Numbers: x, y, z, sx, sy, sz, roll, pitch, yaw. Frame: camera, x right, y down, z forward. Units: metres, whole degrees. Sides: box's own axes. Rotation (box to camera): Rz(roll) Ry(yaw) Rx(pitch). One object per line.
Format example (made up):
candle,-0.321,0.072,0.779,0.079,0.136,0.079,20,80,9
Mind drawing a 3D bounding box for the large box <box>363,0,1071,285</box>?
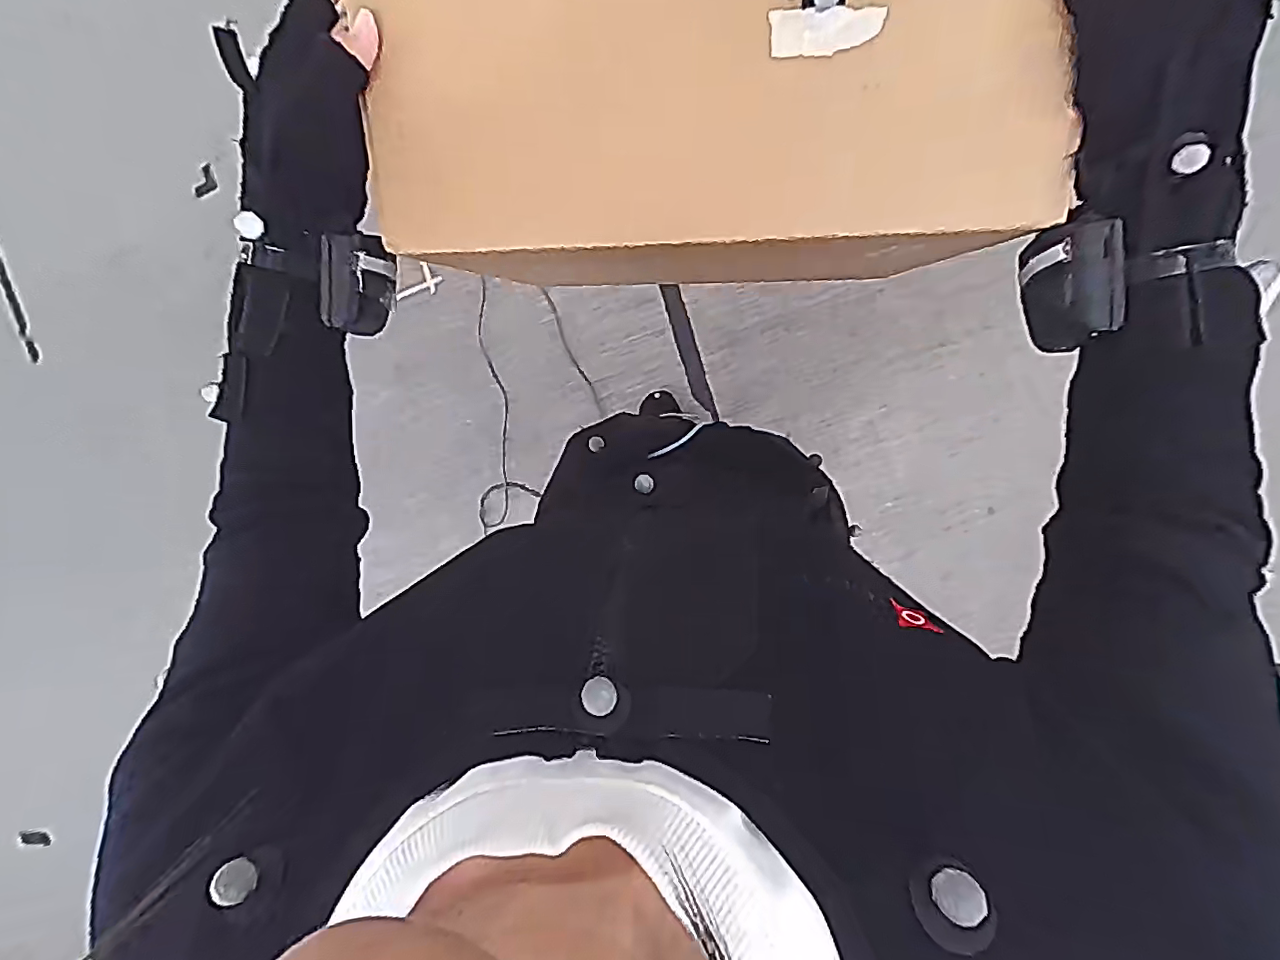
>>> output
large box,0.046,-0.343,0.439,0.408,0.320,0.320,0,106,7
